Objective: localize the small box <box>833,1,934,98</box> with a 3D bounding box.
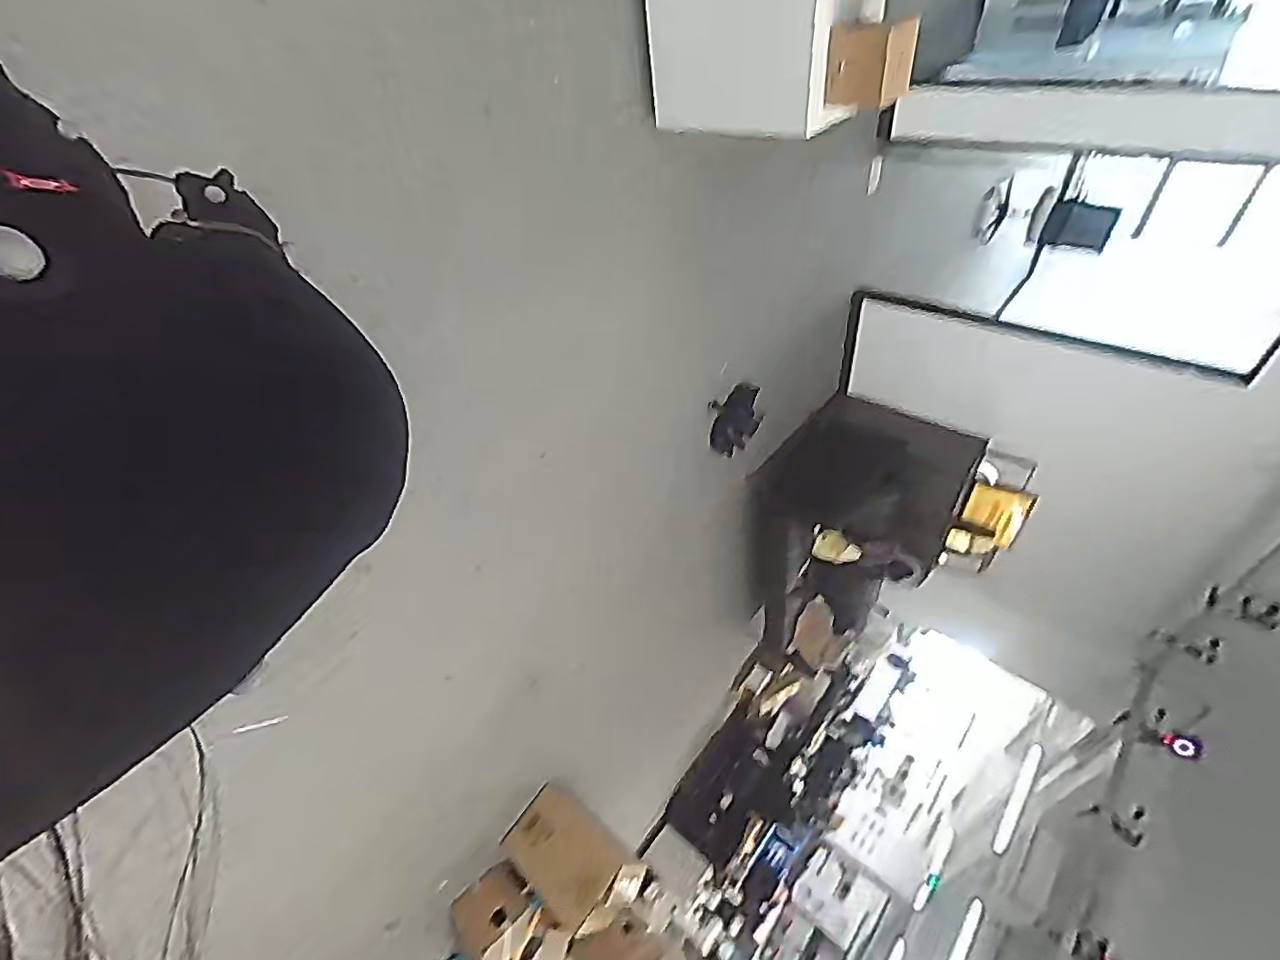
[{"bbox_3d":[0.630,-1.123,1.412,0.179,0.176,0.168,-42,141,-24],"label":"small box"}]
